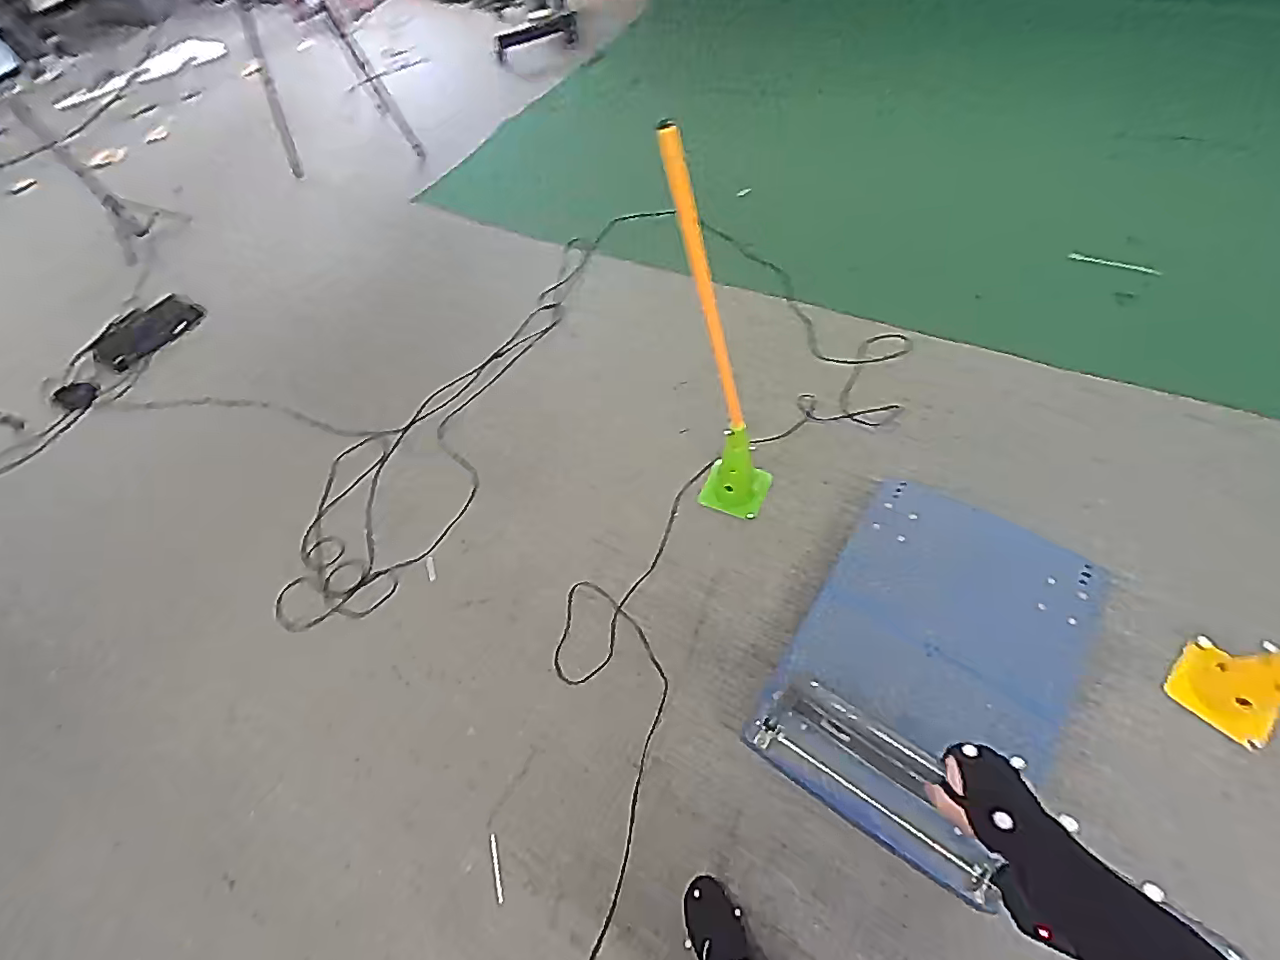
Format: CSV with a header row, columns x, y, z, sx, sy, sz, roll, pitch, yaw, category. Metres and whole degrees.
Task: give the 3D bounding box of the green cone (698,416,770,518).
x,y,z,sx,sy,sz,roll,pitch,yaw,category
0.291,-0.070,1.675,0.202,0.368,0.200,18,62,20,green cone
